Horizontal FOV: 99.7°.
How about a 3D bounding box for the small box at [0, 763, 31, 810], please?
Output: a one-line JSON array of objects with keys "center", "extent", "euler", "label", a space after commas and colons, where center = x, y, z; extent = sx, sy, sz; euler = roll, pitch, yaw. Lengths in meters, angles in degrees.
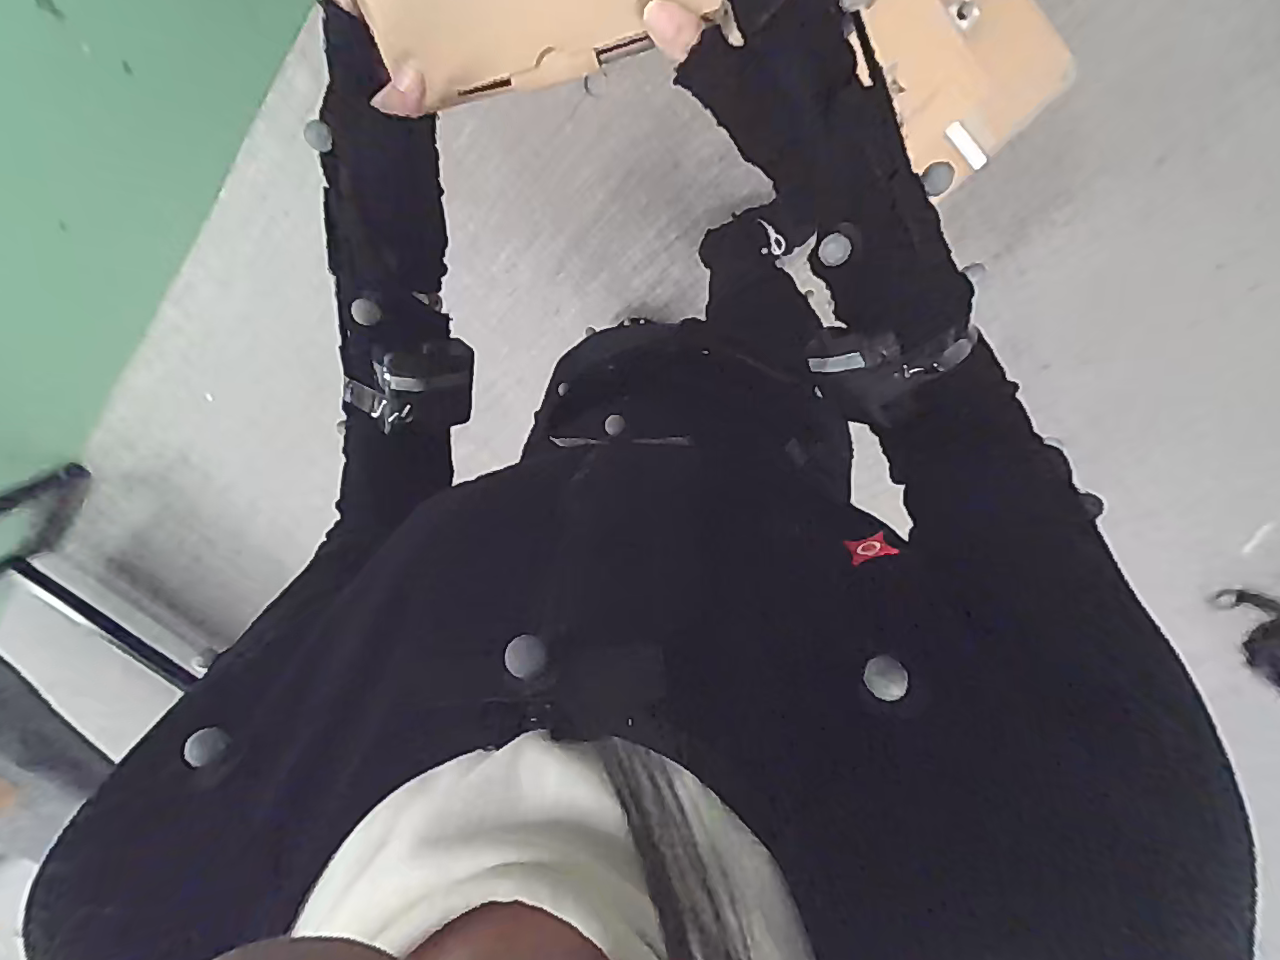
[{"center": [-1.757, 0.823, 1.388], "extent": [0.168, 0.176, 0.179], "euler": [-34, 109, 26], "label": "small box"}]
